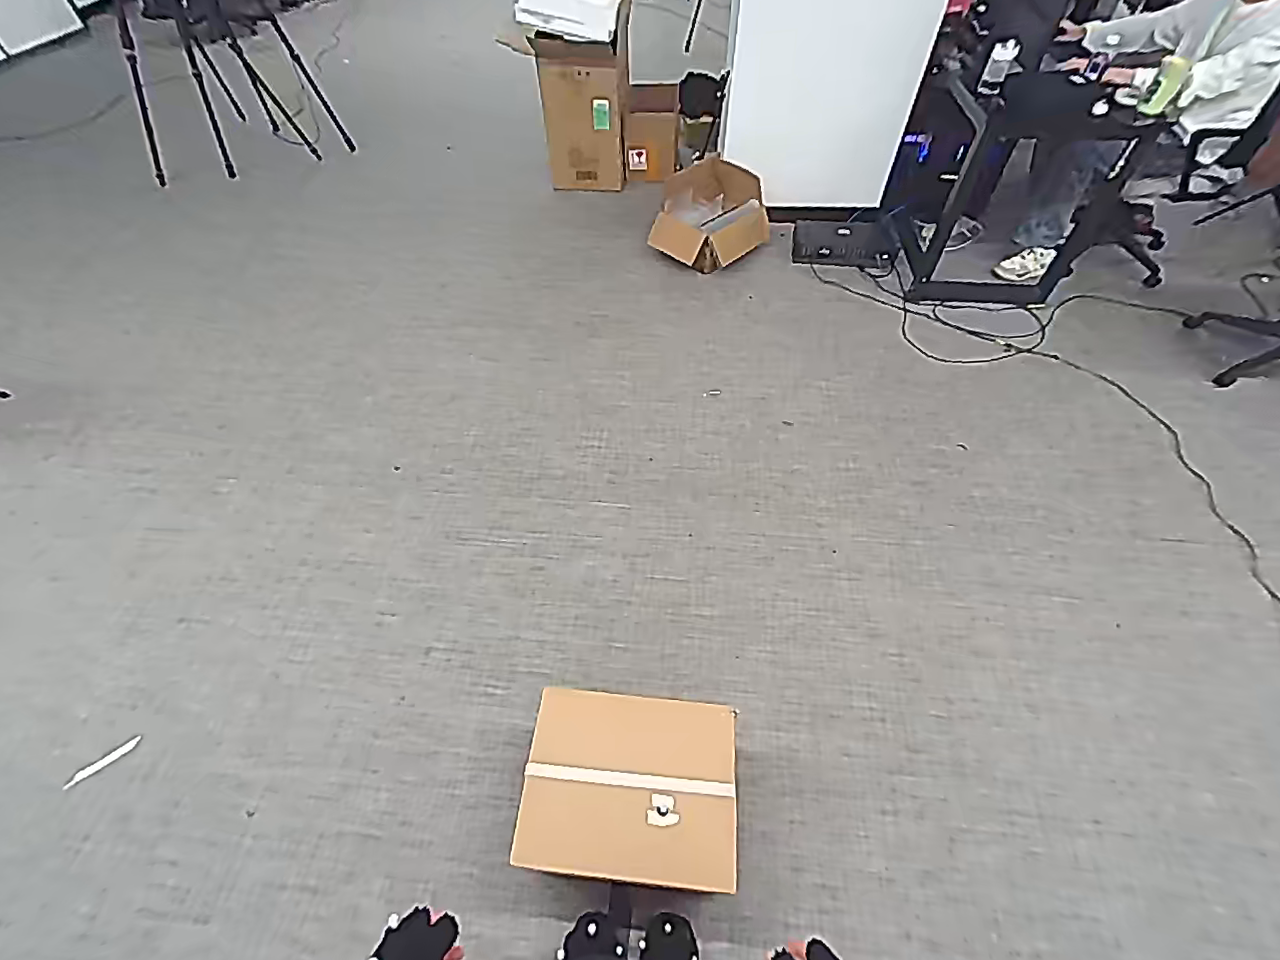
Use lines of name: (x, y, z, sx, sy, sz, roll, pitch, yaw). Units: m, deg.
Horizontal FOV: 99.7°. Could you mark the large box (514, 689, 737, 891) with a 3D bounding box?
large box: (-0.018, 0.667, 1.156, 0.408, 0.320, 0.320, 5, 53, 3)
